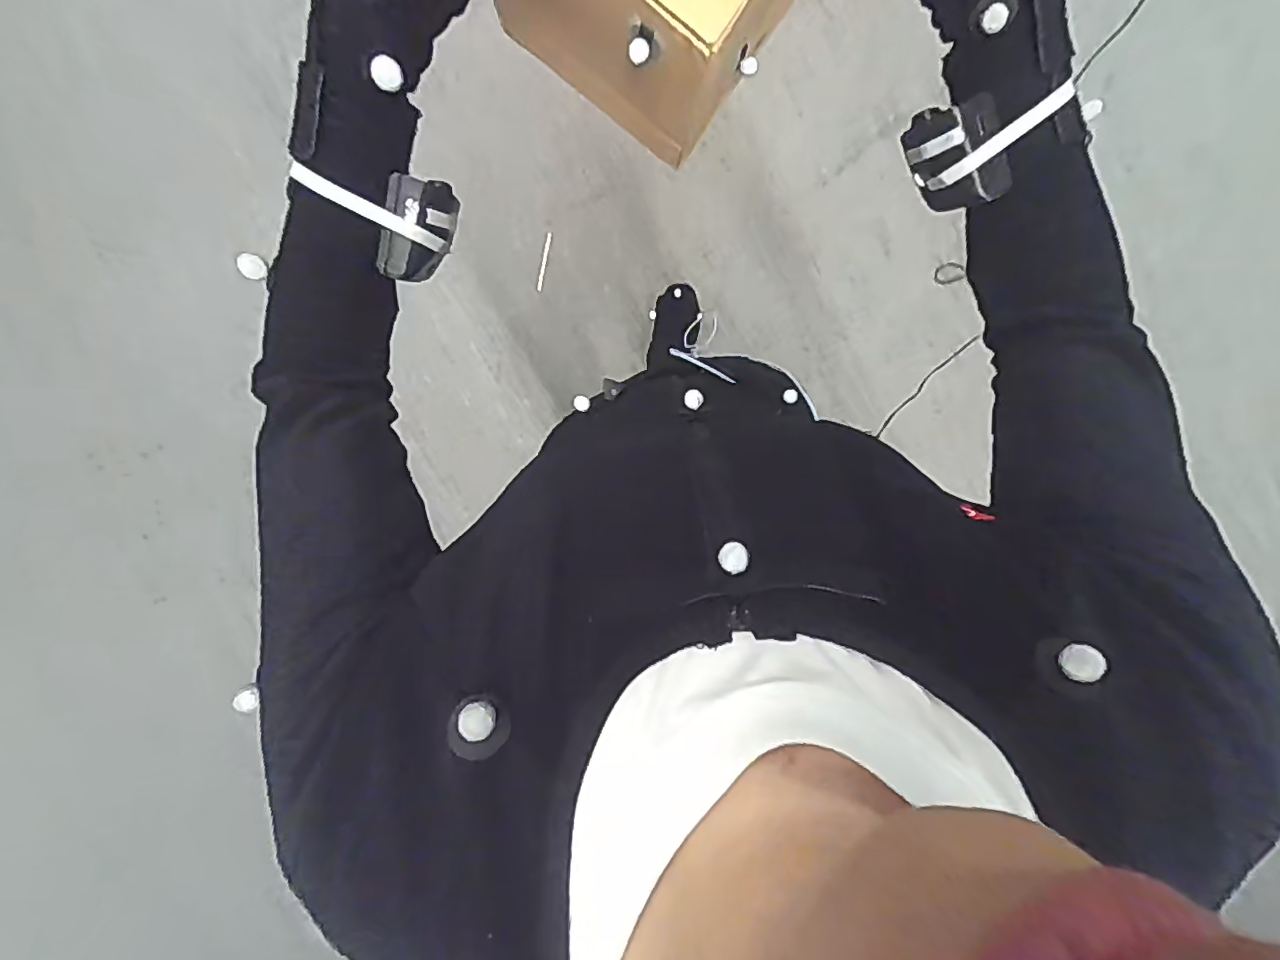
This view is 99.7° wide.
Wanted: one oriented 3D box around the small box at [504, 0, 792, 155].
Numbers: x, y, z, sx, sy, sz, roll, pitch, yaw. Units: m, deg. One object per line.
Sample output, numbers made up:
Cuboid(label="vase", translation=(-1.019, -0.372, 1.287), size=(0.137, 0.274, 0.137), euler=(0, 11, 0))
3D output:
Cuboid(label="small box", translation=(0.013, -0.360, 0.355), size=(0.179, 0.176, 0.168), euler=(35, 96, -9))
